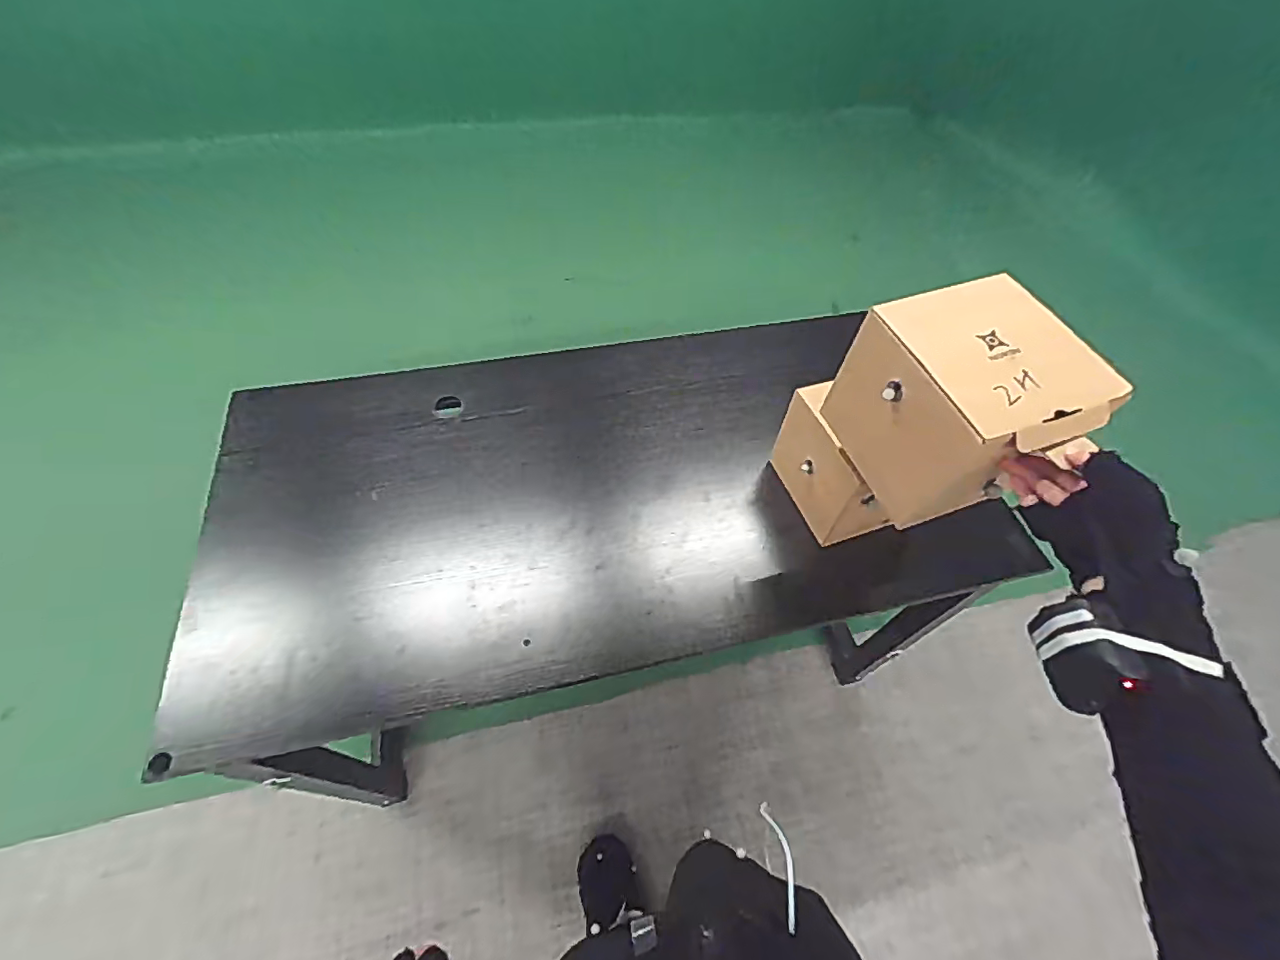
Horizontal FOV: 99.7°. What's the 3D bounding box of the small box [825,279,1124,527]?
[{"bbox_3d":[0.327,-0.078,0.577,0.168,0.176,0.179,-17,61,-11],"label":"small box"}]
